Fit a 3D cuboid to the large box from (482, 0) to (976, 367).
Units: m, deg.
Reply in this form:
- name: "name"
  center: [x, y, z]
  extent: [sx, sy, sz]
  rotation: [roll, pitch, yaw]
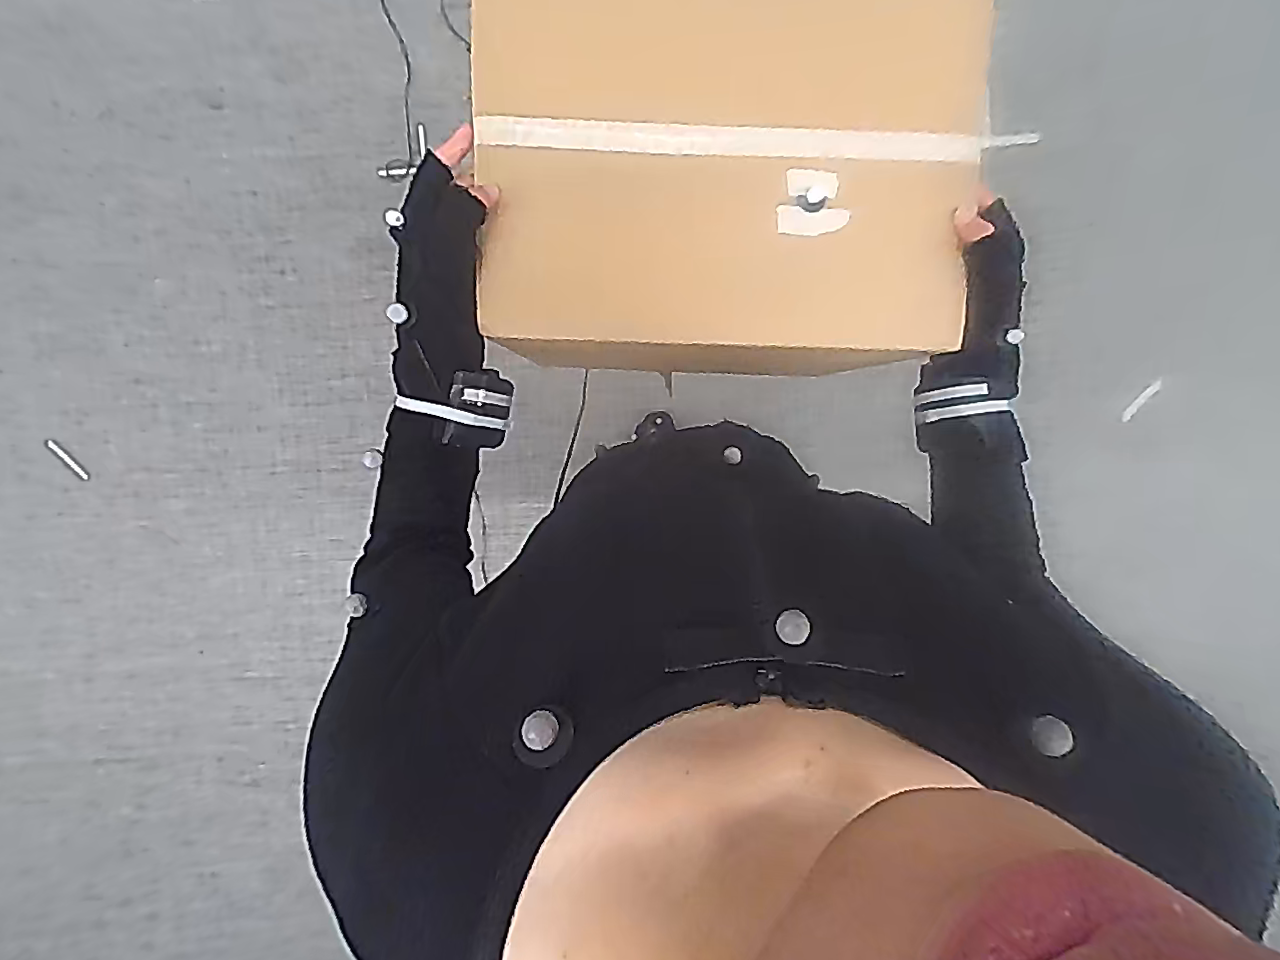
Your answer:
- name: "large box"
  center: [0.066, -0.295, 0.589]
  extent: [0.408, 0.320, 0.320]
  rotation: [1, 97, -2]
